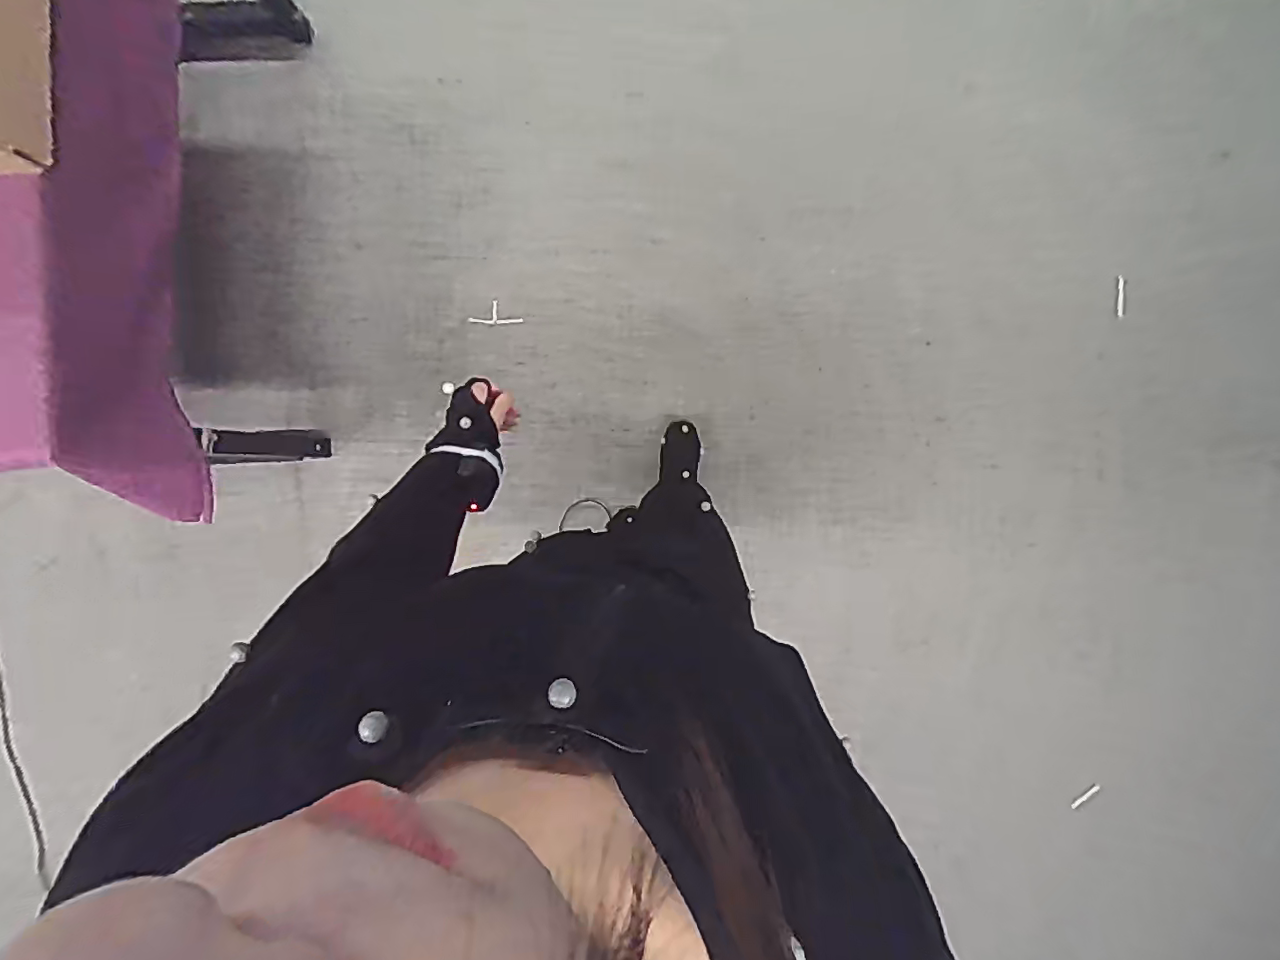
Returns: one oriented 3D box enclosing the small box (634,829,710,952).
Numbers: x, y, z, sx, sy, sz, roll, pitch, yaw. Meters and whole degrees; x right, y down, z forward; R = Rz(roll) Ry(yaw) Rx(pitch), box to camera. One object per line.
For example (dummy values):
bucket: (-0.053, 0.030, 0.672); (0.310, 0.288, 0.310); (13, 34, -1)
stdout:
small box: (0.071, 0.954, 1.275); (0.168, 0.176, 0.179); (-2, 91, 0)
